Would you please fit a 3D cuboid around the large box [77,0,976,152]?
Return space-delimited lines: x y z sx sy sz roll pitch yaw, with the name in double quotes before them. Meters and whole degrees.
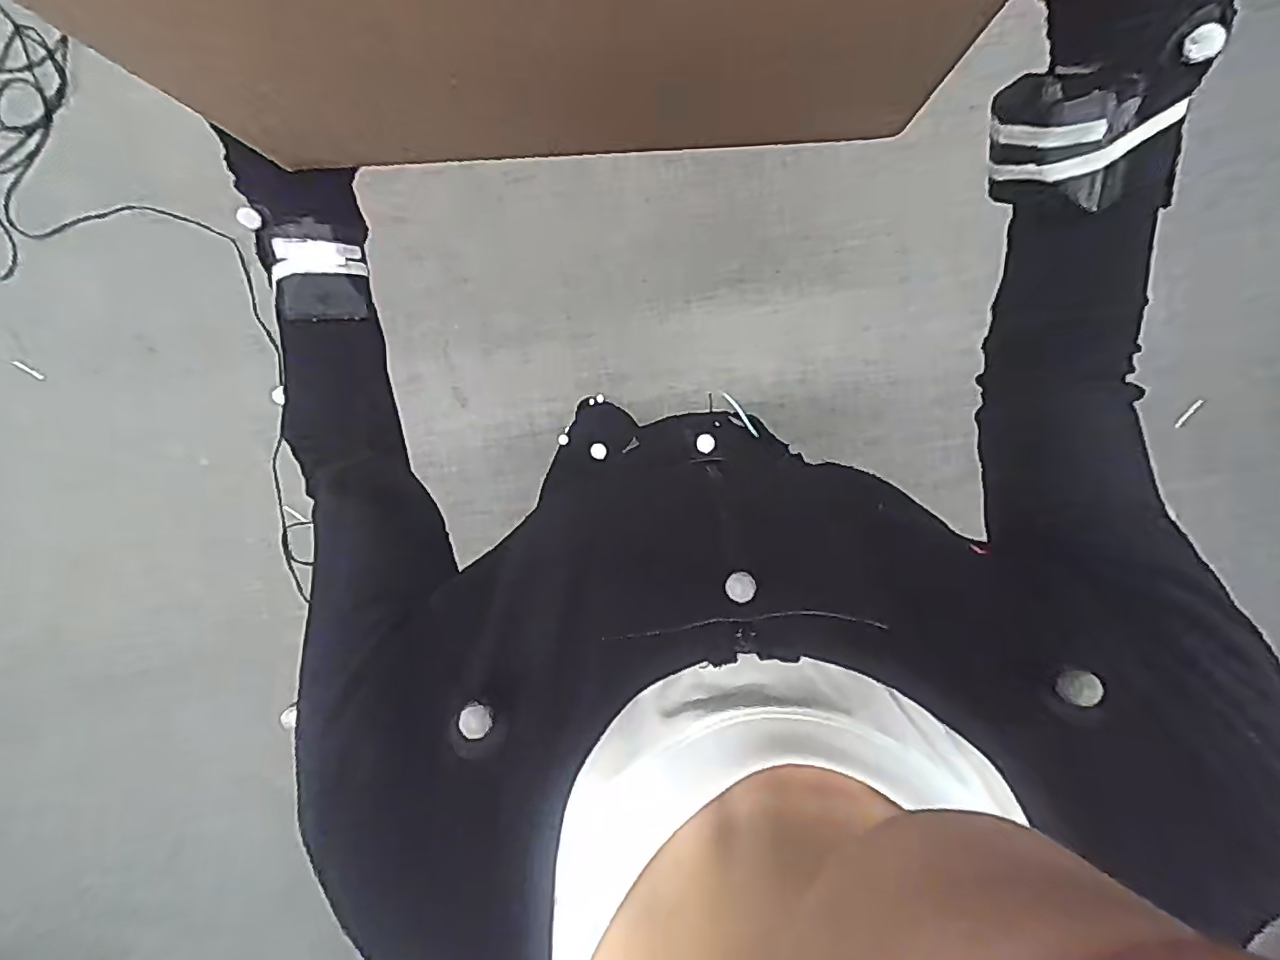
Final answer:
"large box" -0.050 -0.353 0.184 0.408 0.320 0.320 -1 98 4
